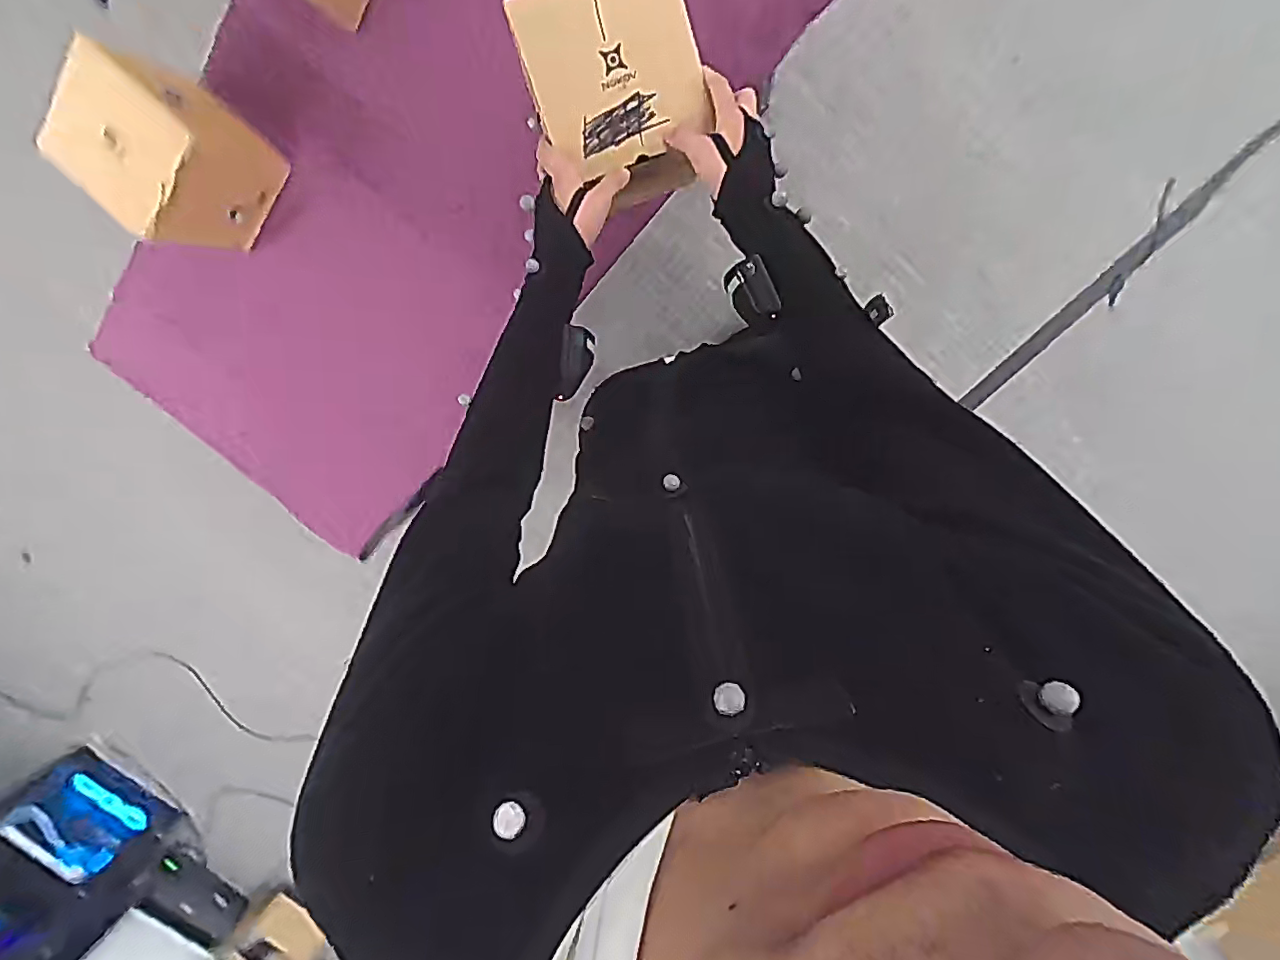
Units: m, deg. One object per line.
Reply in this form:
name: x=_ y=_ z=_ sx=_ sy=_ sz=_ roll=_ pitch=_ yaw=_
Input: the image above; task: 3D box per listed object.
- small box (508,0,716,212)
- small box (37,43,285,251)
small box: x=-0.027 y=-0.419 z=0.604 sx=0.168 sy=0.176 sz=0.179 roll=-18 pitch=105 yaw=1
small box: x=-0.668 y=-0.451 z=0.771 sx=0.179 sy=0.176 sz=0.168 roll=42 pitch=109 yaw=-6
